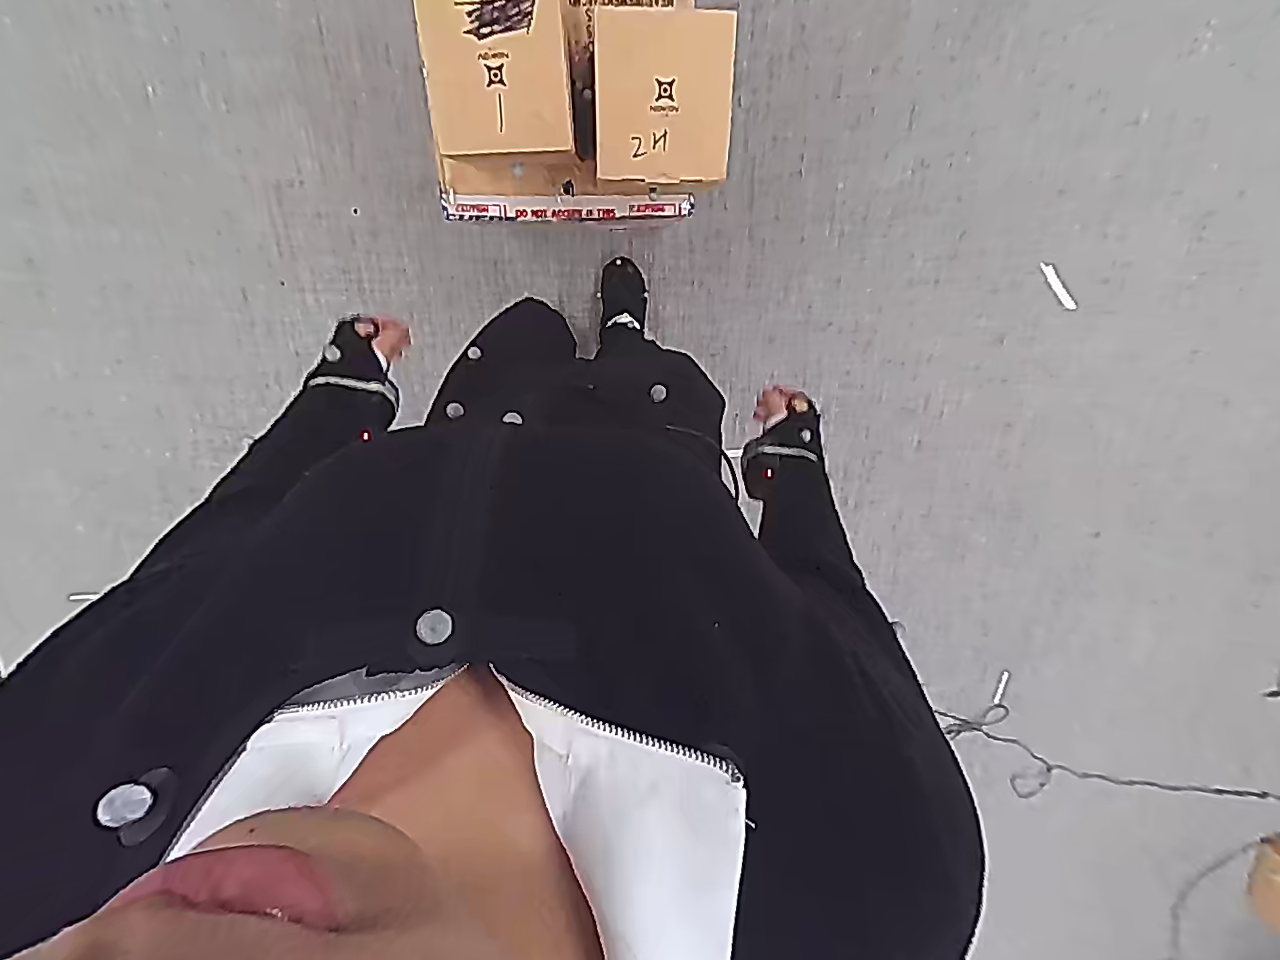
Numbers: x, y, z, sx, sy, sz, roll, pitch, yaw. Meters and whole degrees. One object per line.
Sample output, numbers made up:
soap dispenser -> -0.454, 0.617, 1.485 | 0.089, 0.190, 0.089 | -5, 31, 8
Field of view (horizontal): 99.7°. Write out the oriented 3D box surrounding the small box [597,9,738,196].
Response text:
small box -> 0.026, -0.486, 0.723 | 0.168, 0.176, 0.179 | -1, 114, -3

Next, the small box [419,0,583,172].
small box -> -0.166, -0.511, 0.704 | 0.168, 0.176, 0.179 | -2, 116, 0
